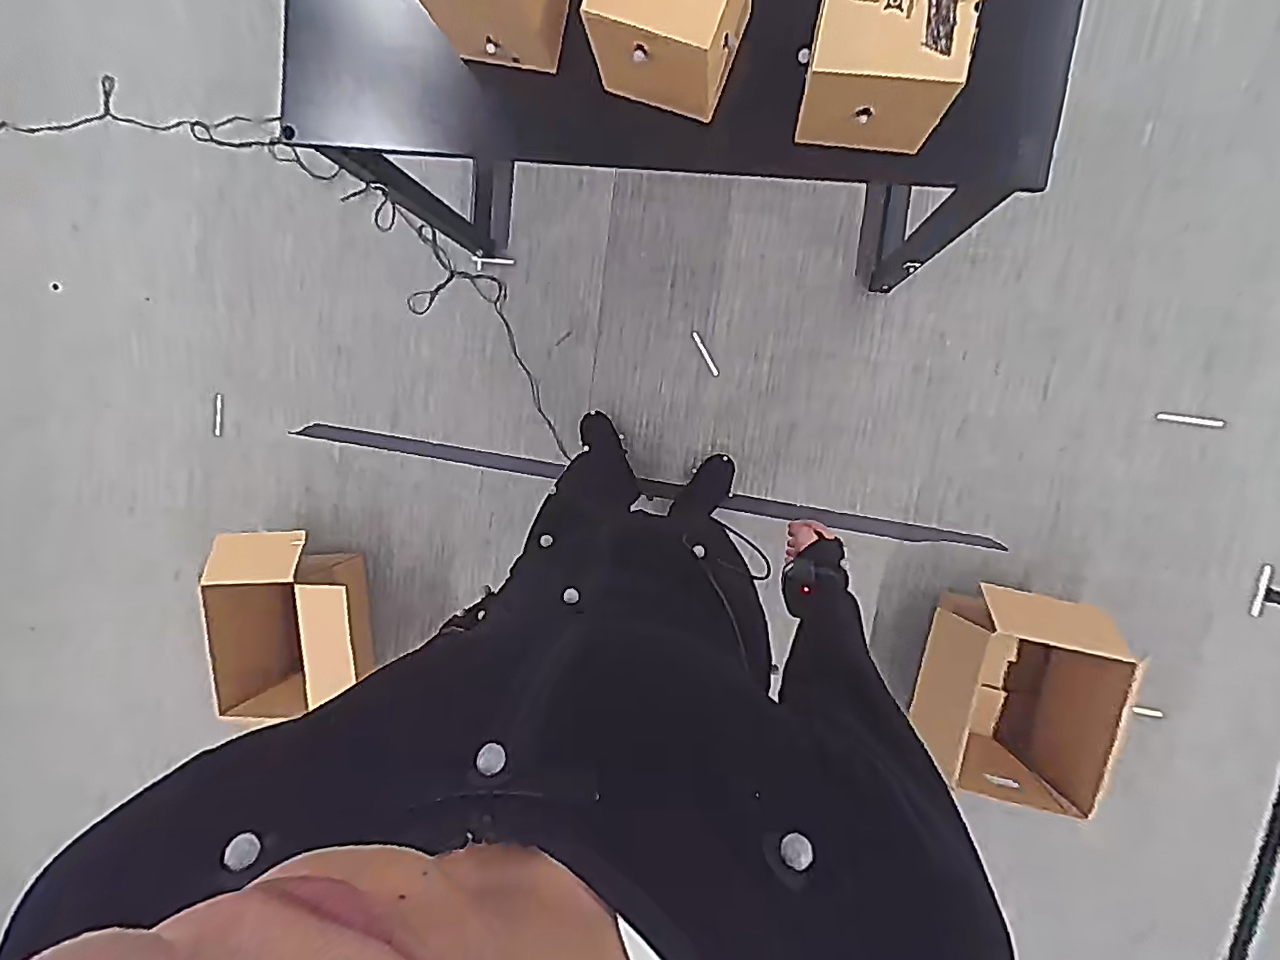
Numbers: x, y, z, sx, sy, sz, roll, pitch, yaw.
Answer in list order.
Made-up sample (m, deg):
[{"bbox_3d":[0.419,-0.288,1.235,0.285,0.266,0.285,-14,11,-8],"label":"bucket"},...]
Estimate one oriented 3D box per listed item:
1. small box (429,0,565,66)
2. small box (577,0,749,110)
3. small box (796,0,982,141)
[{"bbox_3d":[-0.204,-0.729,0.748,0.168,0.176,0.179,14,99,7],"label":"small box"},{"bbox_3d":[0.042,-0.639,0.722,0.179,0.176,0.168,22,99,6],"label":"small box"},{"bbox_3d":[0.309,-0.562,0.689,0.179,0.176,0.168,10,97,9],"label":"small box"}]
